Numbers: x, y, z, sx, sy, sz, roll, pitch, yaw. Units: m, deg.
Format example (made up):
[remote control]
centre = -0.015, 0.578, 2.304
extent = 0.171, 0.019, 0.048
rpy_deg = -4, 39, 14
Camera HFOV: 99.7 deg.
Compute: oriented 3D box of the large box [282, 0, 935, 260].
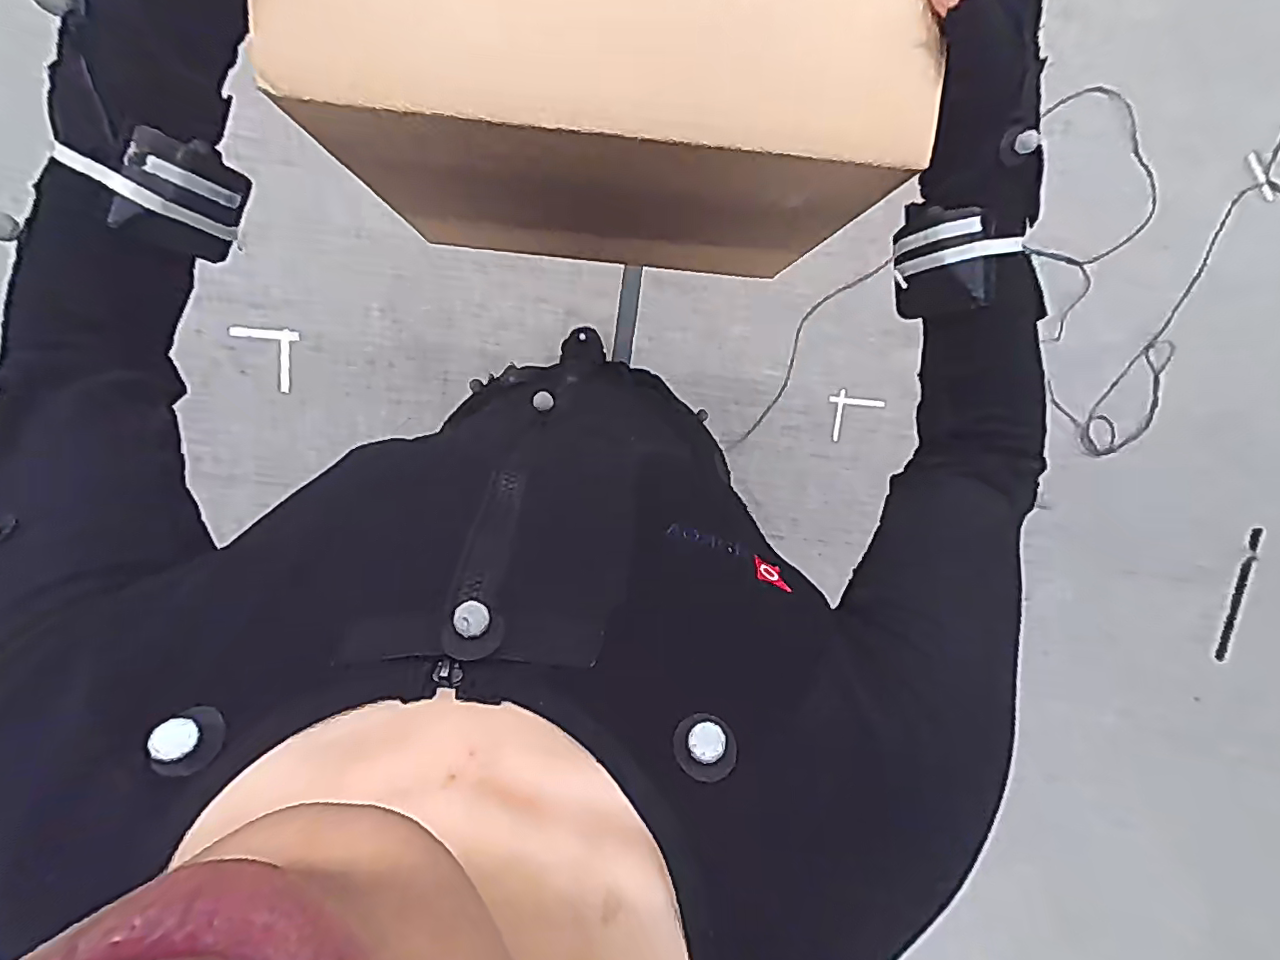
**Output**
[large box]
centre = -0.019, -0.398, 0.463
extent = 0.408, 0.320, 0.320
rpy_deg = 3, 99, -5
